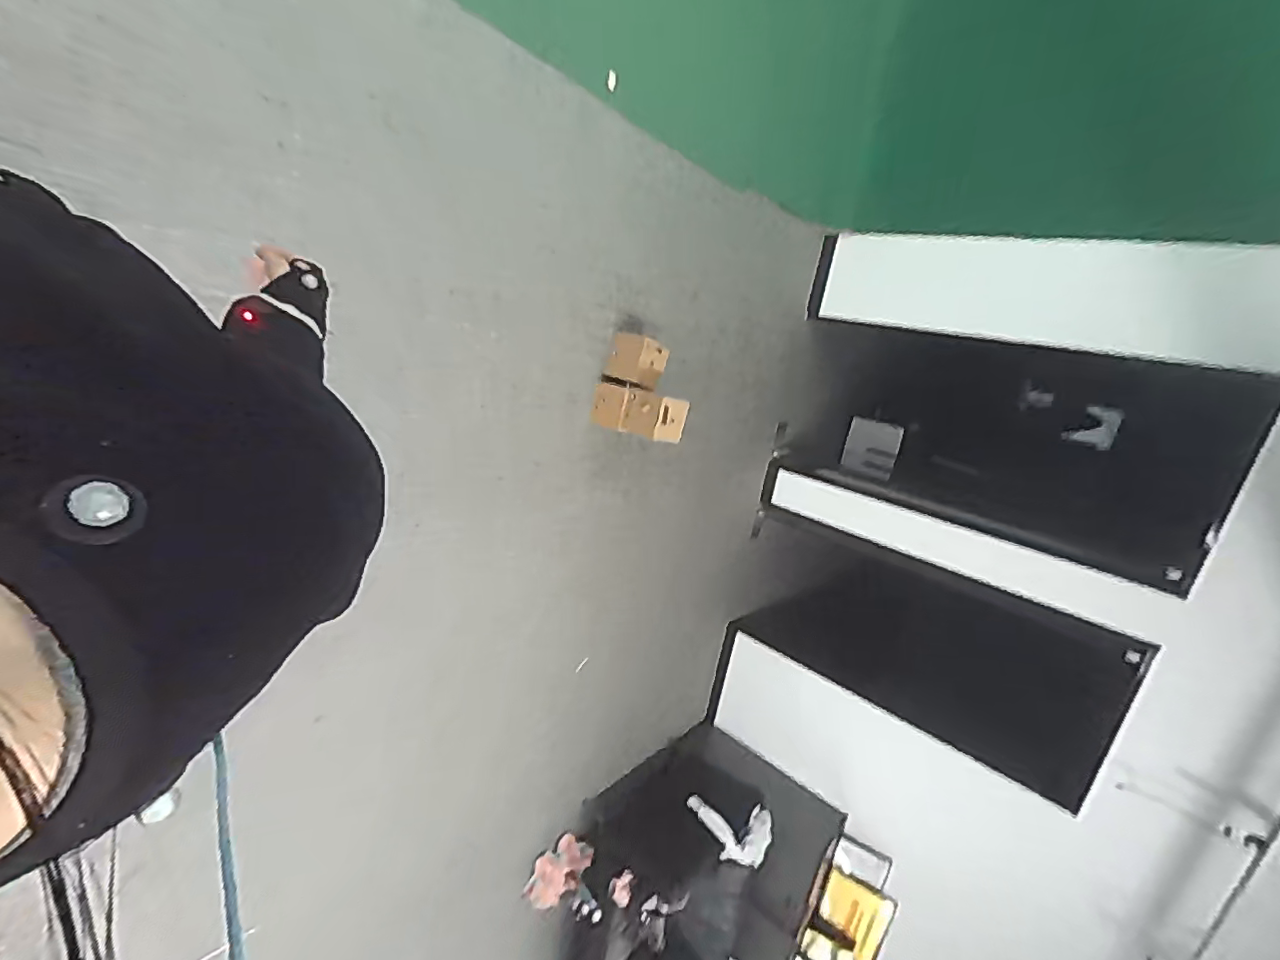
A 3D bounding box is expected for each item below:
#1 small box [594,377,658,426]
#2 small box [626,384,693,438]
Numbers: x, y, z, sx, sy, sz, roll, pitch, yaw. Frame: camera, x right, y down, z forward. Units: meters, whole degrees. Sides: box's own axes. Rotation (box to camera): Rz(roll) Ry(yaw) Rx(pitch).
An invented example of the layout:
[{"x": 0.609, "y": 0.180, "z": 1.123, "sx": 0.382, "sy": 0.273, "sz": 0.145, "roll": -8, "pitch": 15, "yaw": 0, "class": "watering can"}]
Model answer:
[{"x": -0.058, "y": -0.316, "z": 2.167, "sx": 0.179, "sy": 0.176, "sz": 0.168, "roll": -7, "pitch": 113, "yaw": -48, "class": "small box"}, {"x": 0.071, "y": -0.268, "z": 2.076, "sx": 0.179, "sy": 0.176, "sz": 0.168, "roll": 1, "pitch": 107, "yaw": -50, "class": "small box"}]
